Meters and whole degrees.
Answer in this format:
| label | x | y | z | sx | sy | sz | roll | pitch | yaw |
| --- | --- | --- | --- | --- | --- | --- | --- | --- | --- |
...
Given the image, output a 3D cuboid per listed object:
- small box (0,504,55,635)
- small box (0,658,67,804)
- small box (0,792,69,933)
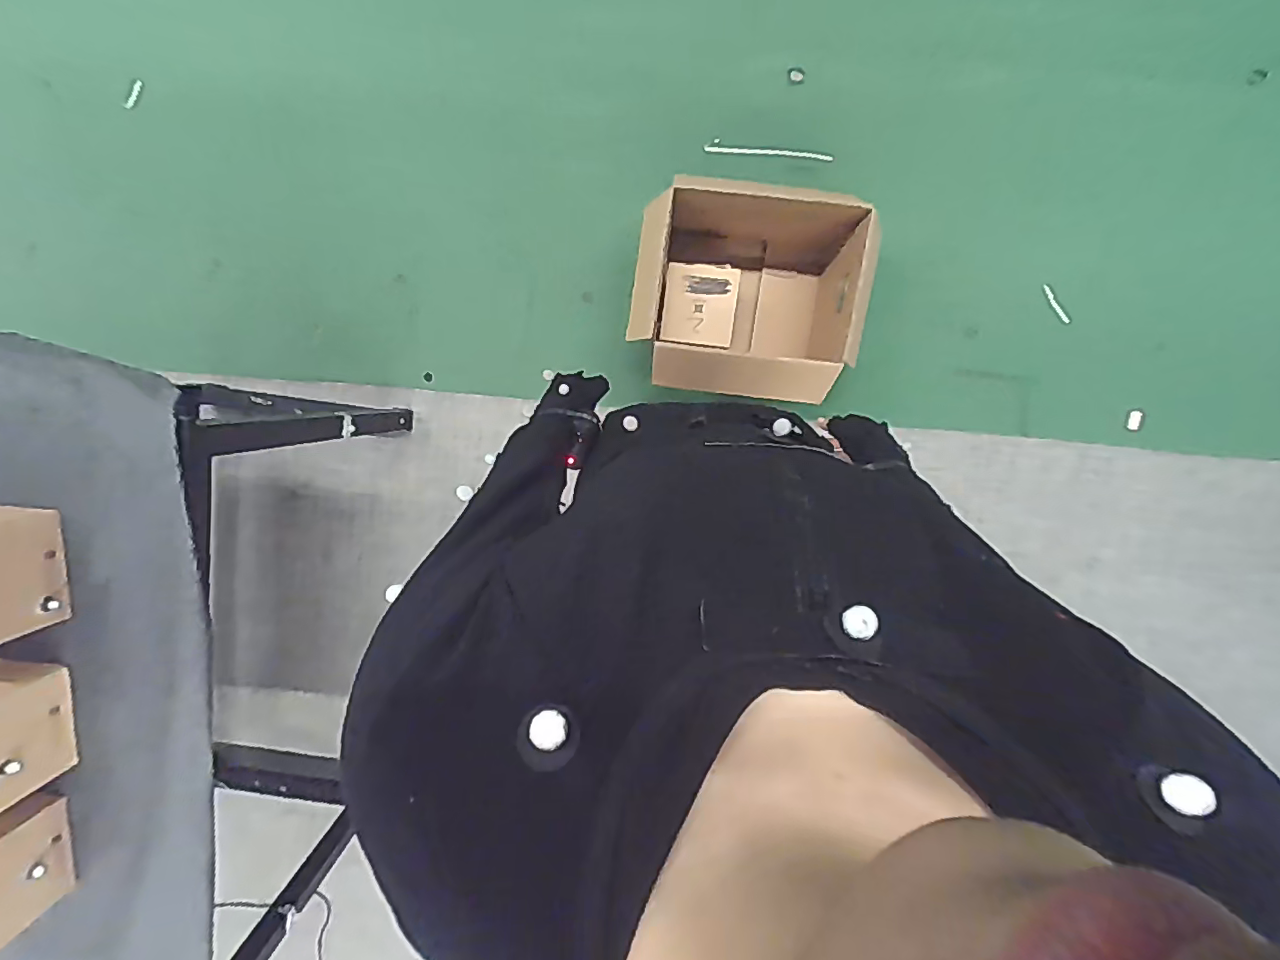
| label | x | y | z | sx | sy | sz | roll | pitch | yaw |
| --- | --- | --- | --- | --- | --- | --- | --- | --- | --- |
| small box | -0.927 | 0.124 | 0.704 | 0.179 | 0.176 | 0.168 | 4 | 99 | 2 |
| small box | -0.954 | 0.359 | 0.745 | 0.179 | 0.176 | 0.168 | 5 | 99 | 2 |
| small box | -0.999 | 0.576 | 0.780 | 0.179 | 0.176 | 0.168 | 4 | 99 | 2 |
